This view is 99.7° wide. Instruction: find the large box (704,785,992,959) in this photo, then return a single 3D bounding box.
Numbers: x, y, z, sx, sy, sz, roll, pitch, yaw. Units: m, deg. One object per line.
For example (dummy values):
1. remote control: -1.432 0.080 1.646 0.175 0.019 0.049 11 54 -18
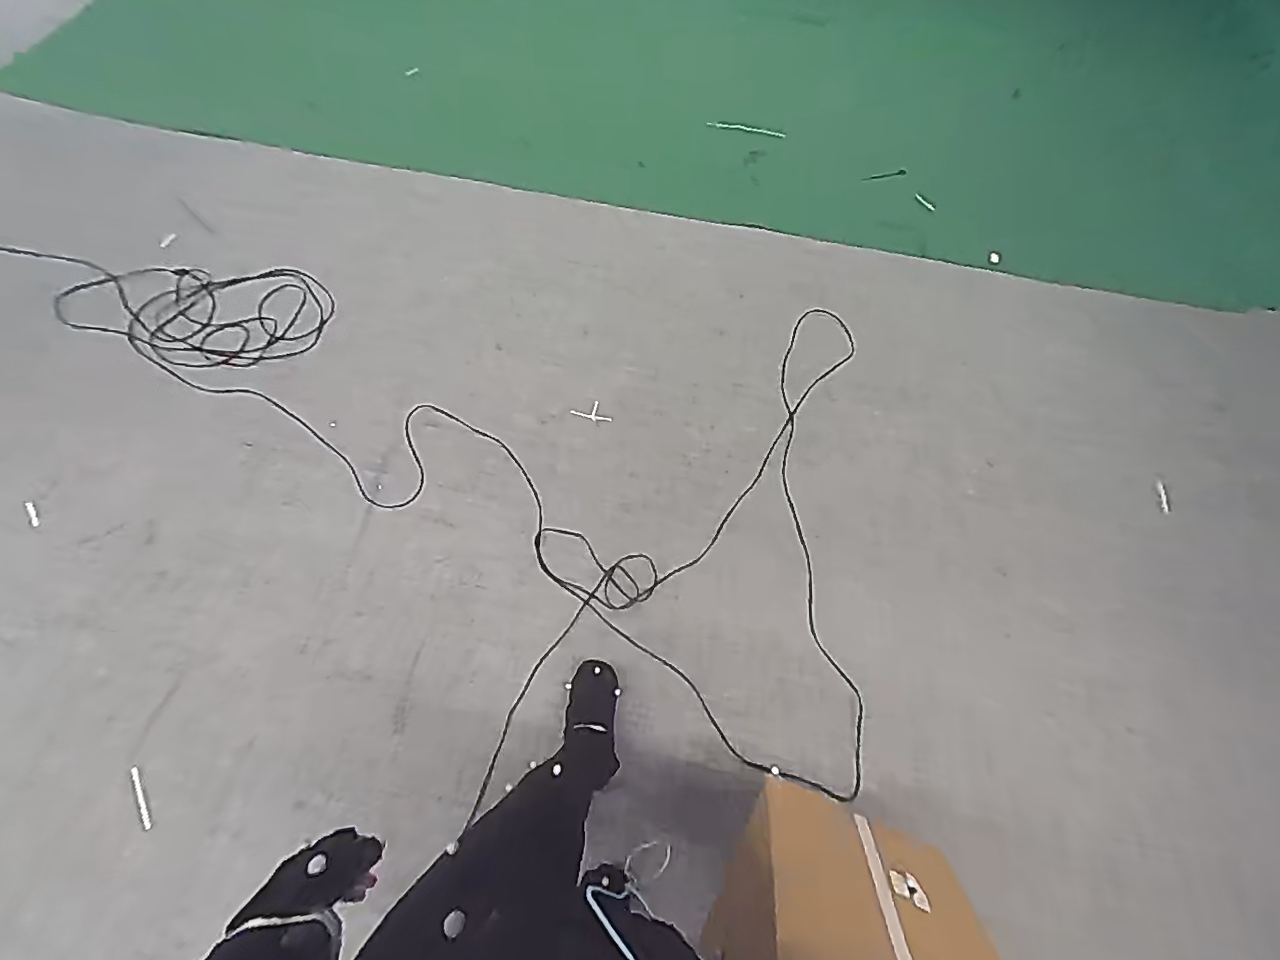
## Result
1. large box: 0.270 0.721 0.722 0.320 0.408 0.320 23 95 10
